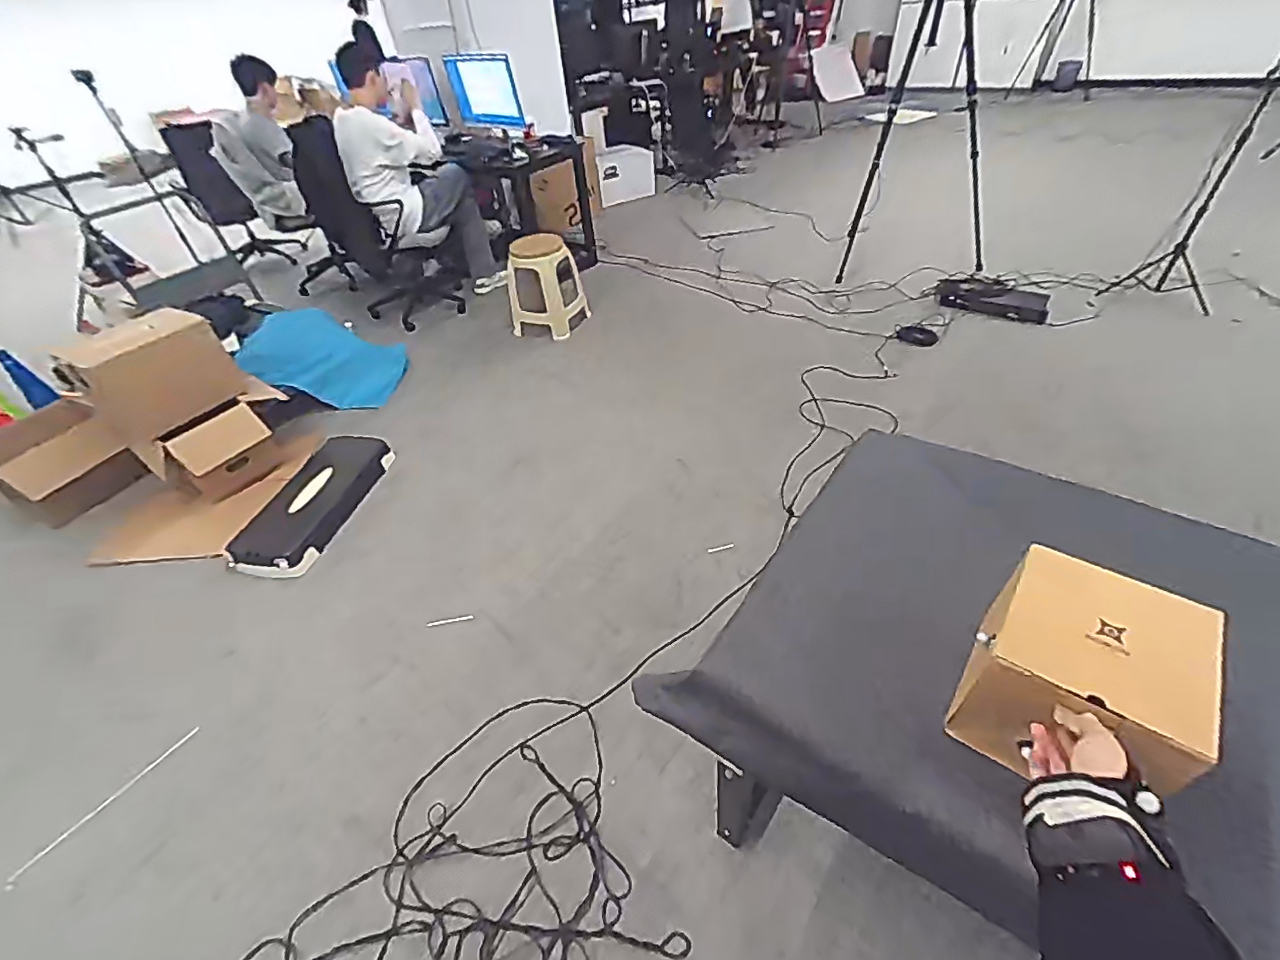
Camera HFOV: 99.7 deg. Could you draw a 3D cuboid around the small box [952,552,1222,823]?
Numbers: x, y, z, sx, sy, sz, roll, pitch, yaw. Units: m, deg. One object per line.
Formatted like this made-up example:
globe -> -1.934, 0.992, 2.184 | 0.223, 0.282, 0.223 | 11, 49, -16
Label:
small box -> 0.465, 0.218, 0.582 | 0.168, 0.176, 0.179 | 25, 50, 30
